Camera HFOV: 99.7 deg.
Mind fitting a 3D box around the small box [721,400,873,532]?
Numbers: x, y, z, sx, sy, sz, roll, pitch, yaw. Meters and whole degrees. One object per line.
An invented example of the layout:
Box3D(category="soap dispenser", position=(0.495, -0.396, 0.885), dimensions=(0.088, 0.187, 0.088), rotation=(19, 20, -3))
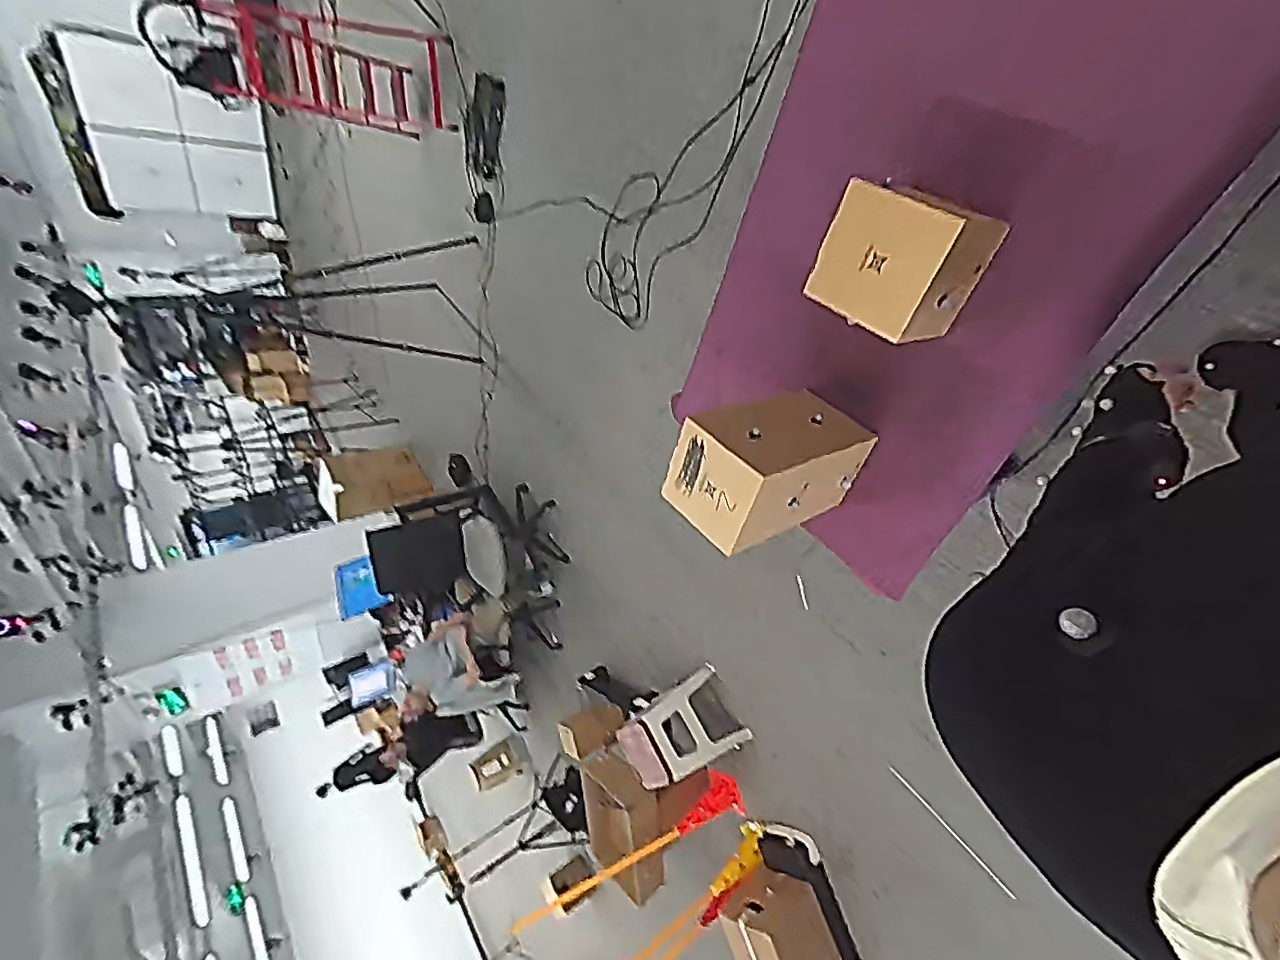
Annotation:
Box3D(category="small box", position=(0.289, -0.036, 1.003), dimensions=(0.179, 0.176, 0.168), rotation=(43, 133, 32))

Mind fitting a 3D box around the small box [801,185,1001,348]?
Box3D(category="small box", position=(0.380, -0.314, 0.792), dimensions=(0.179, 0.176, 0.168), rotation=(44, 134, 33))
